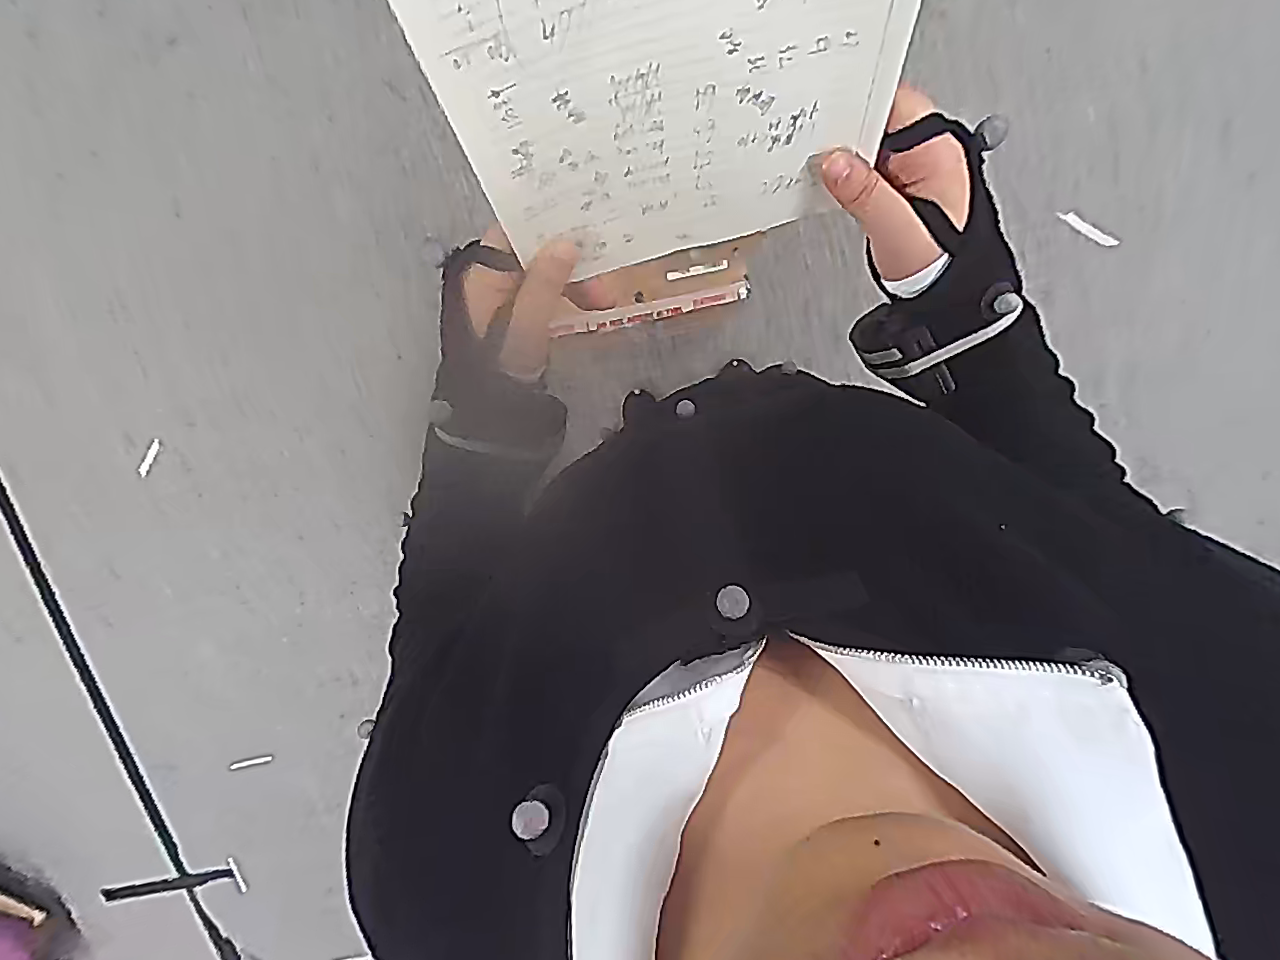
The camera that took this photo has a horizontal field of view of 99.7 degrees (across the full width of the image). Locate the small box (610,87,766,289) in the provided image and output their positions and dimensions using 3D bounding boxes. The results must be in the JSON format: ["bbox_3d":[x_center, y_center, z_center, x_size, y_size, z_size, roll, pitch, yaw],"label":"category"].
[{"bbox_3d":[0.057,-0.361,0.701,0.168,0.176,0.179,-8,102,2],"label":"small box"}]

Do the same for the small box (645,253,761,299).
[{"bbox_3d":[0.079,-0.398,0.861,0.179,0.176,0.168,-12,100,4],"label":"small box"}]
